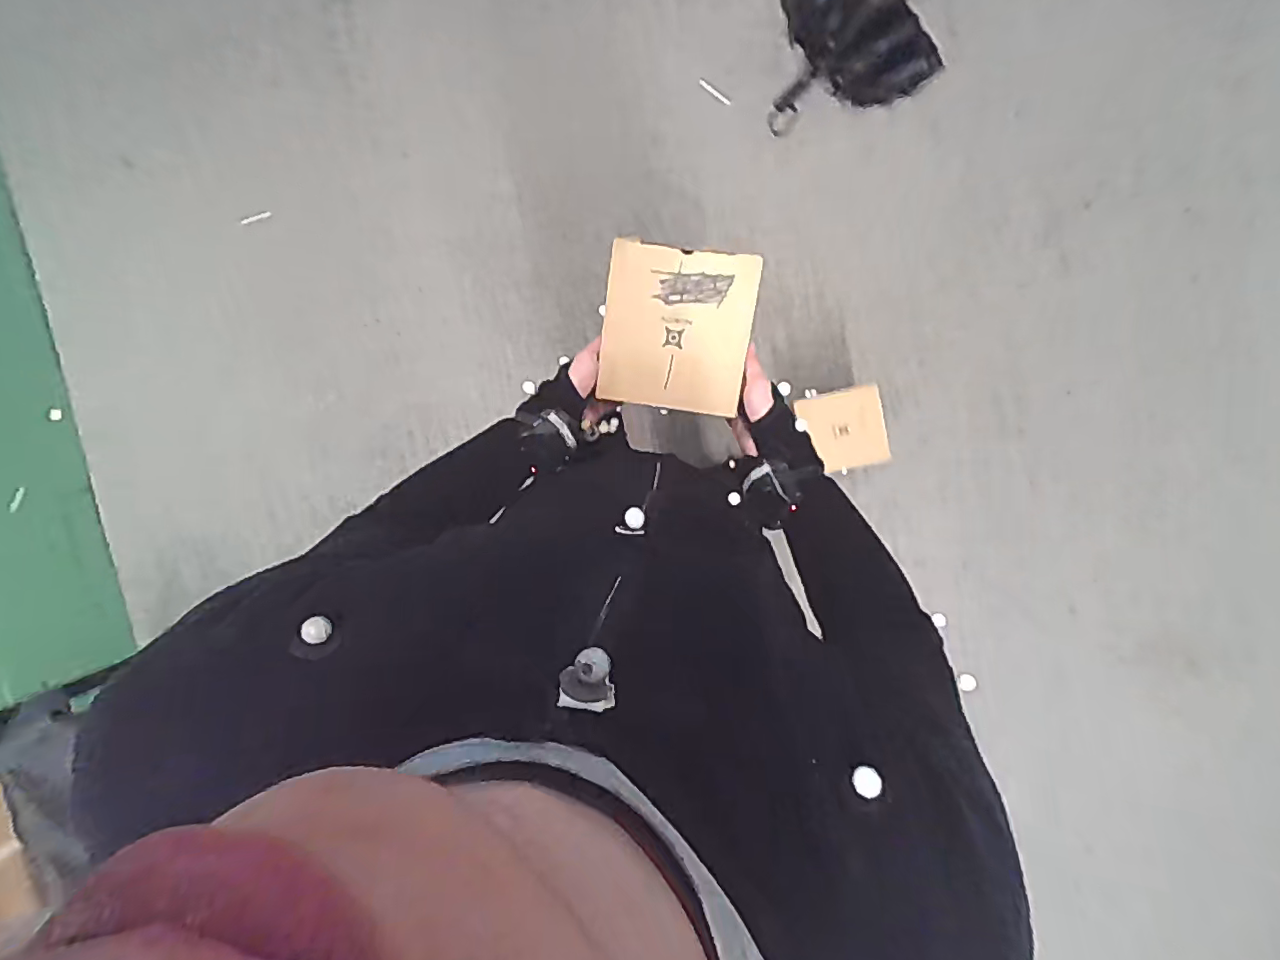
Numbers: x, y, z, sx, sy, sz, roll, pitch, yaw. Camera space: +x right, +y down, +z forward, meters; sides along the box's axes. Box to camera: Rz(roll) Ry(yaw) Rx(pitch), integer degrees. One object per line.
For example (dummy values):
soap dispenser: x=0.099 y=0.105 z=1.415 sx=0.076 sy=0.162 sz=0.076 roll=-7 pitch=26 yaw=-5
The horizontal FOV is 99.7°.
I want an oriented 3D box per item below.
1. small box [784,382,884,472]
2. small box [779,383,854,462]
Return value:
small box: x=0.431 y=-0.122 z=1.232 sx=0.179 sy=0.176 sz=0.168 roll=-12 pitch=97 yaw=10
small box: x=0.461 y=-0.147 z=1.390 sx=0.179 sy=0.176 sz=0.168 roll=-12 pitch=96 yaw=12
